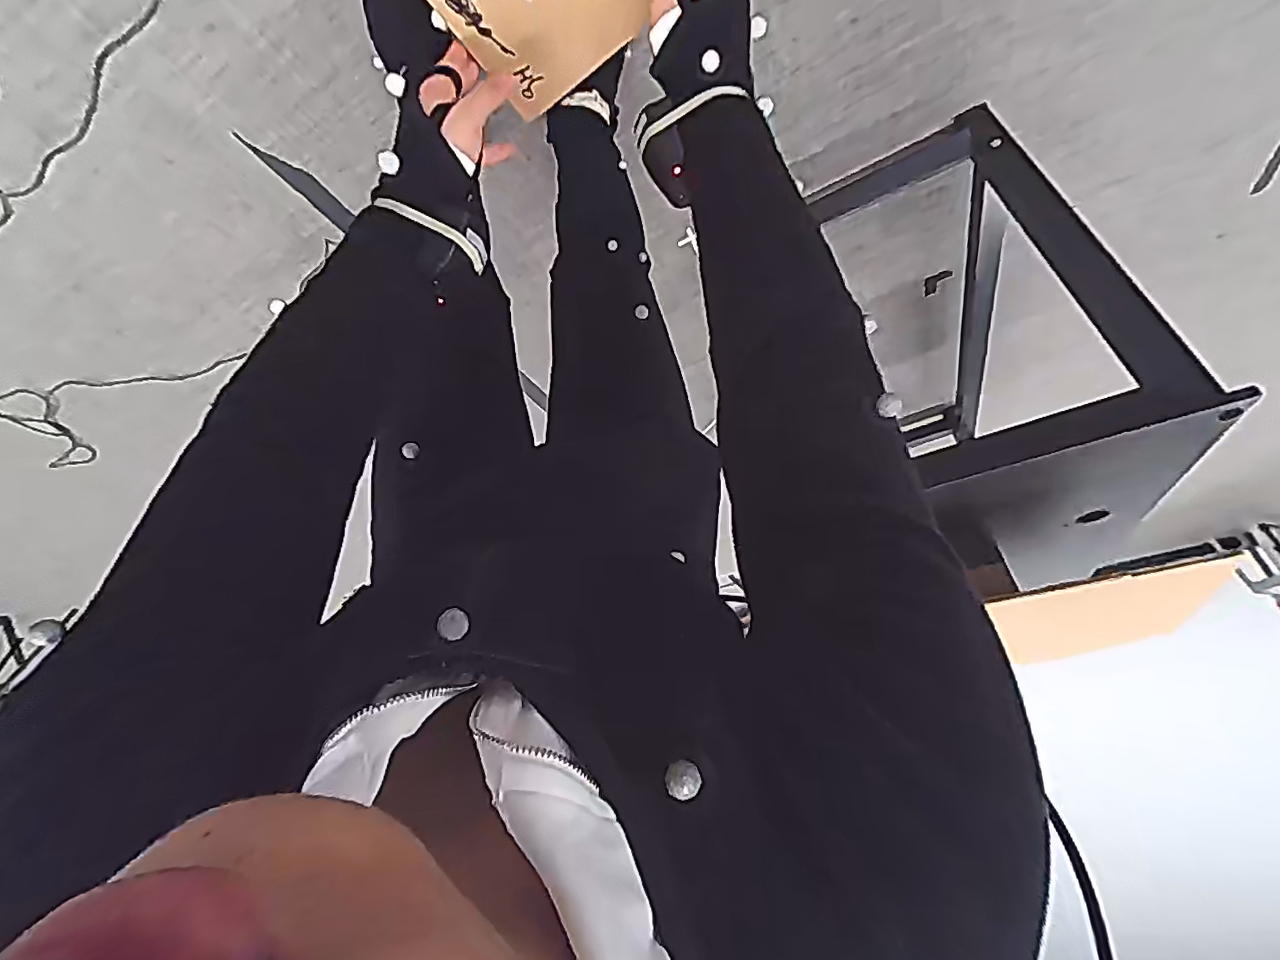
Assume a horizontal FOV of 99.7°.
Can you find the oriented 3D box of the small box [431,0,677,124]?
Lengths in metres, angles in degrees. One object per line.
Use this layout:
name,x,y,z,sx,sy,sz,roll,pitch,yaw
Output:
small box,-0.090,-0.475,0.471,0.179,0.176,0.168,-24,146,24
